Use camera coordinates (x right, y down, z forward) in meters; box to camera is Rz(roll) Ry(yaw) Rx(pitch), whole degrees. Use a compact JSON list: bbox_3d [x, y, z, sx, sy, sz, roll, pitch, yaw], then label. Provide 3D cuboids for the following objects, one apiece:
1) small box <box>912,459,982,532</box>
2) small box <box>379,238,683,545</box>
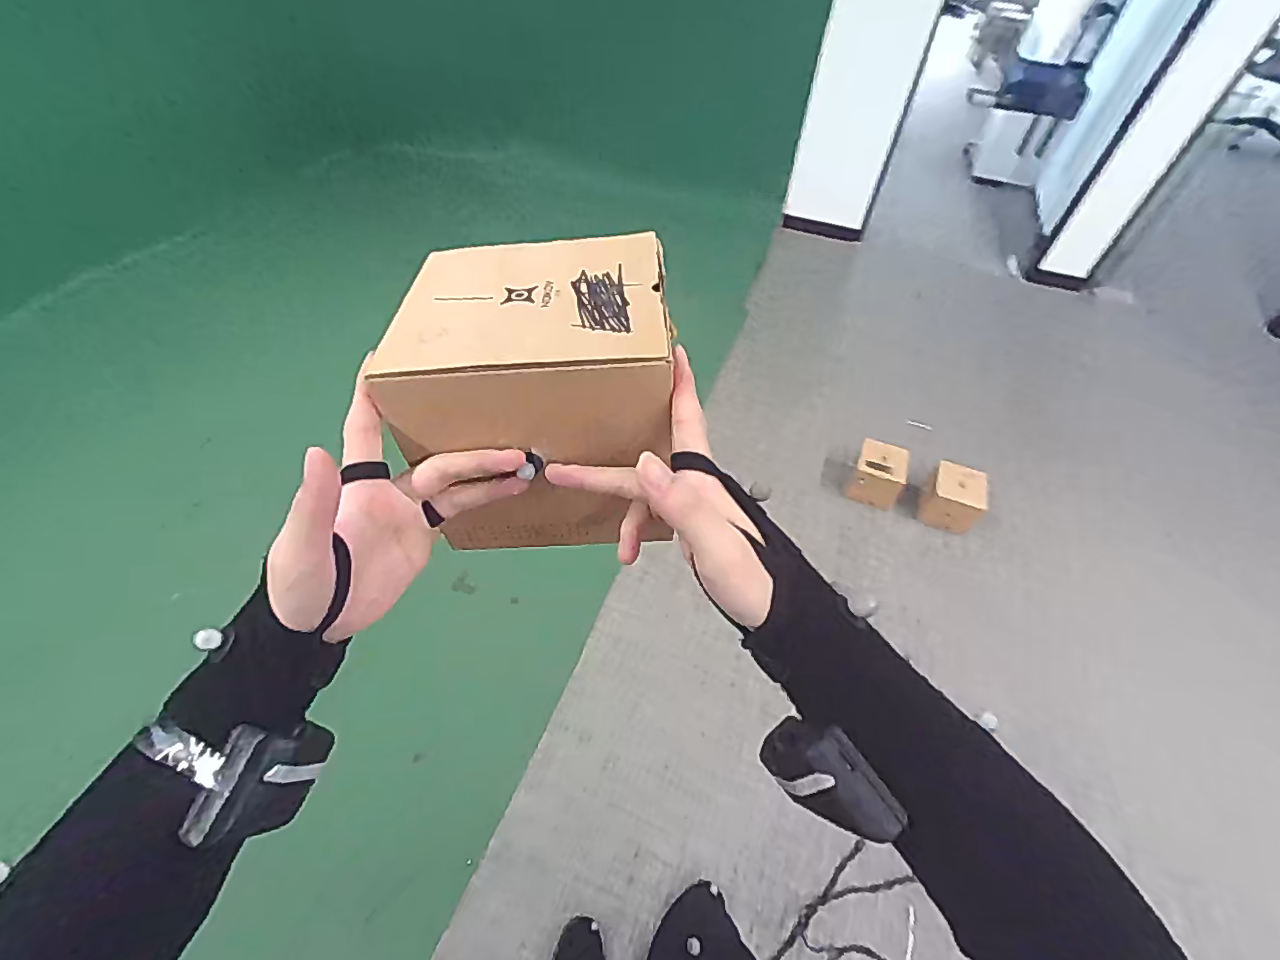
[{"bbox_3d":[1.108,0.061,1.957,0.168,0.176,0.179,19,53,11],"label":"small box"},{"bbox_3d":[-0.060,-0.064,0.418,0.179,0.176,0.168,-3,46,2],"label":"small box"}]
